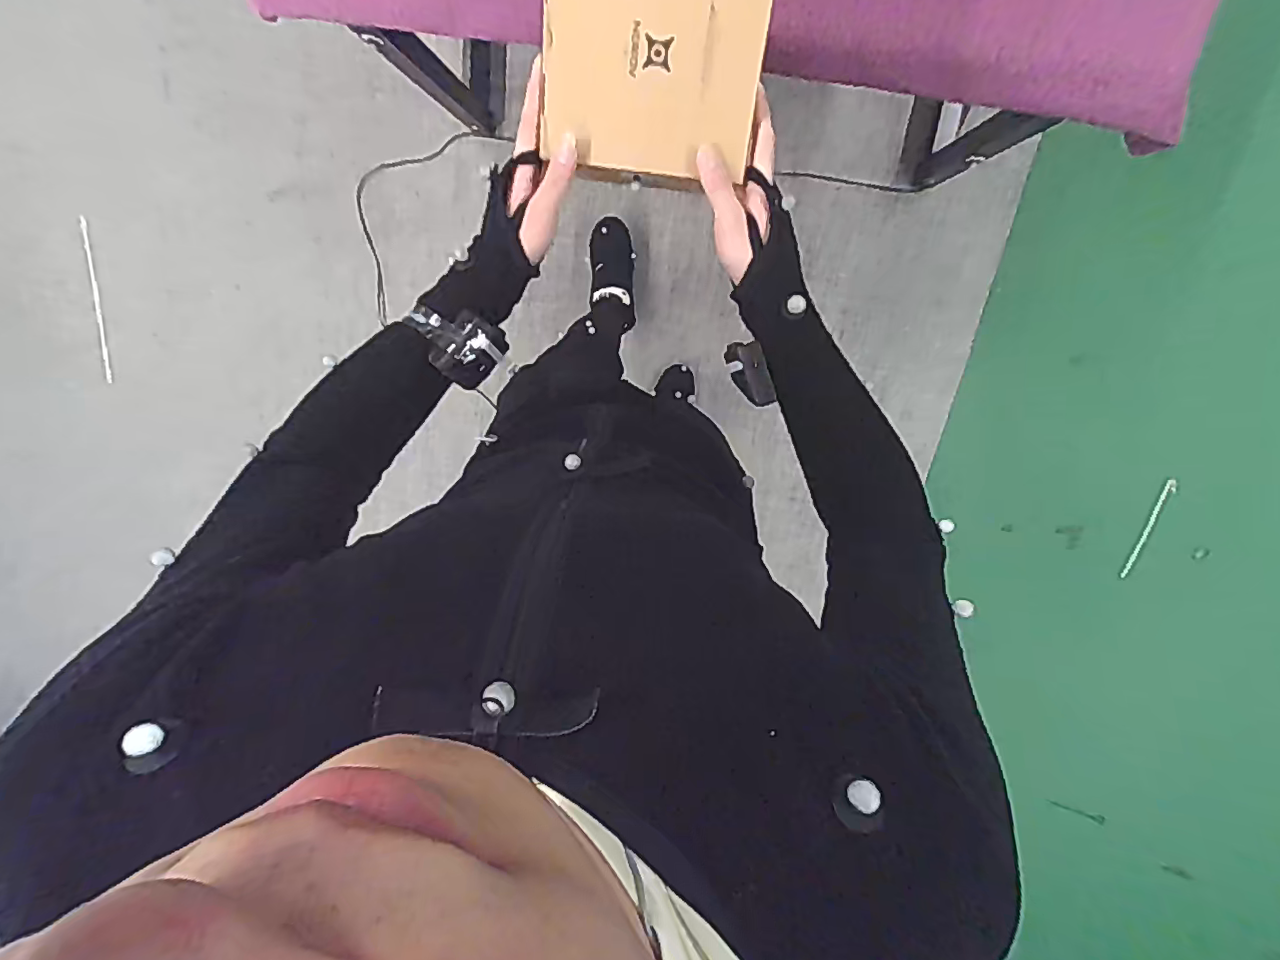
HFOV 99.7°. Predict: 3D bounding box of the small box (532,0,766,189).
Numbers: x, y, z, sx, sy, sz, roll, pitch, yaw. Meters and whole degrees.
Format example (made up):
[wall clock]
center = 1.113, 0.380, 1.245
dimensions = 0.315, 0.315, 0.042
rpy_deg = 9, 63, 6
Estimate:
[small box]
center = 0.007, -0.372, 0.494
dimensions = 0.179, 0.176, 0.168
rpy_deg = 7, 115, -2
